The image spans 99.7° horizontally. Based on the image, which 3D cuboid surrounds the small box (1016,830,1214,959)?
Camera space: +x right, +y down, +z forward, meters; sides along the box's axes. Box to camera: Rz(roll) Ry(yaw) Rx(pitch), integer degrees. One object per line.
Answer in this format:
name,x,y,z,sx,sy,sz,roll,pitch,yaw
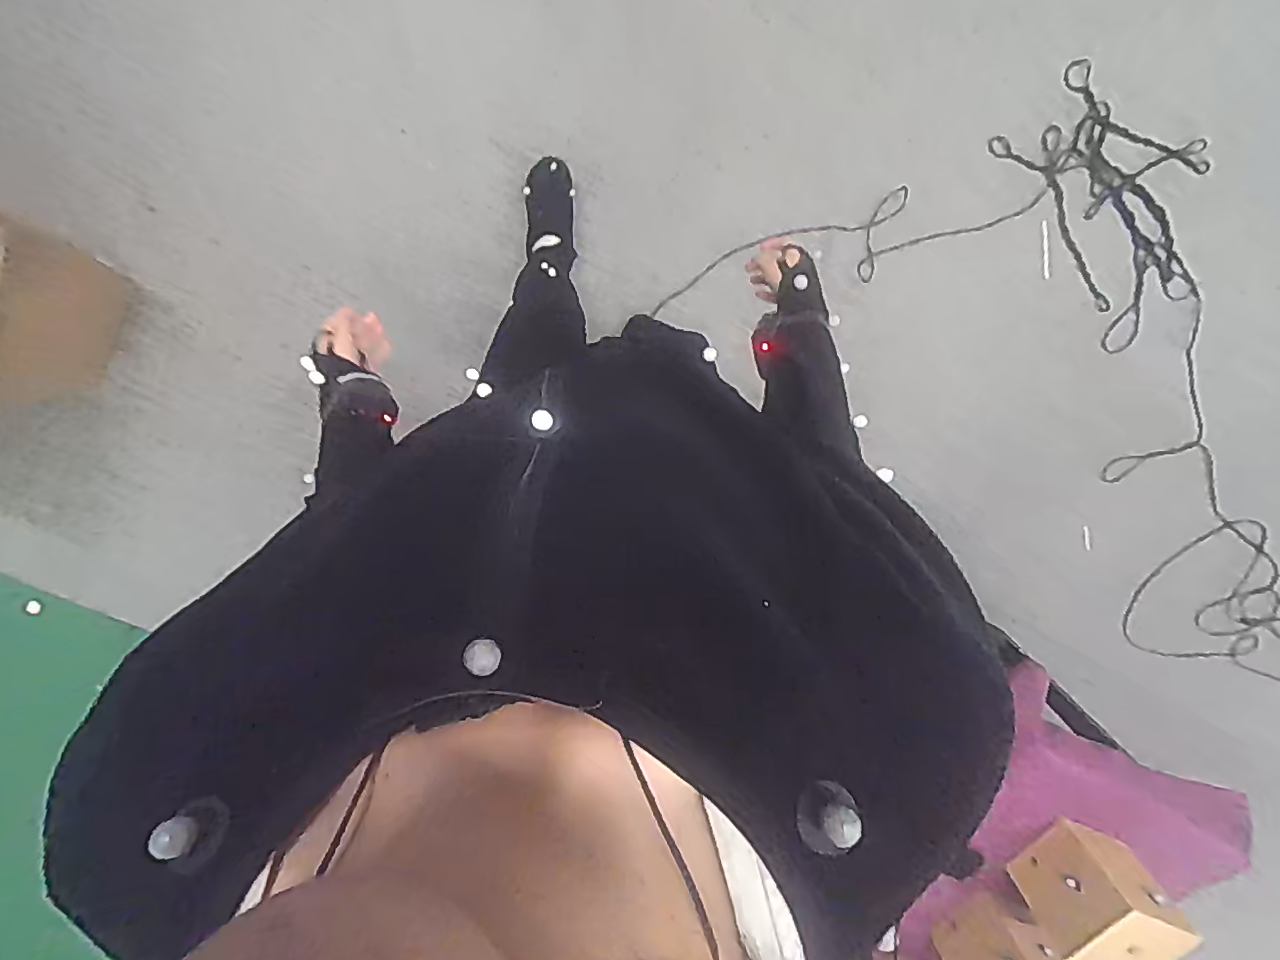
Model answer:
small box,0.852,0.786,0.992,0.179,0.176,0.168,26,108,-11
